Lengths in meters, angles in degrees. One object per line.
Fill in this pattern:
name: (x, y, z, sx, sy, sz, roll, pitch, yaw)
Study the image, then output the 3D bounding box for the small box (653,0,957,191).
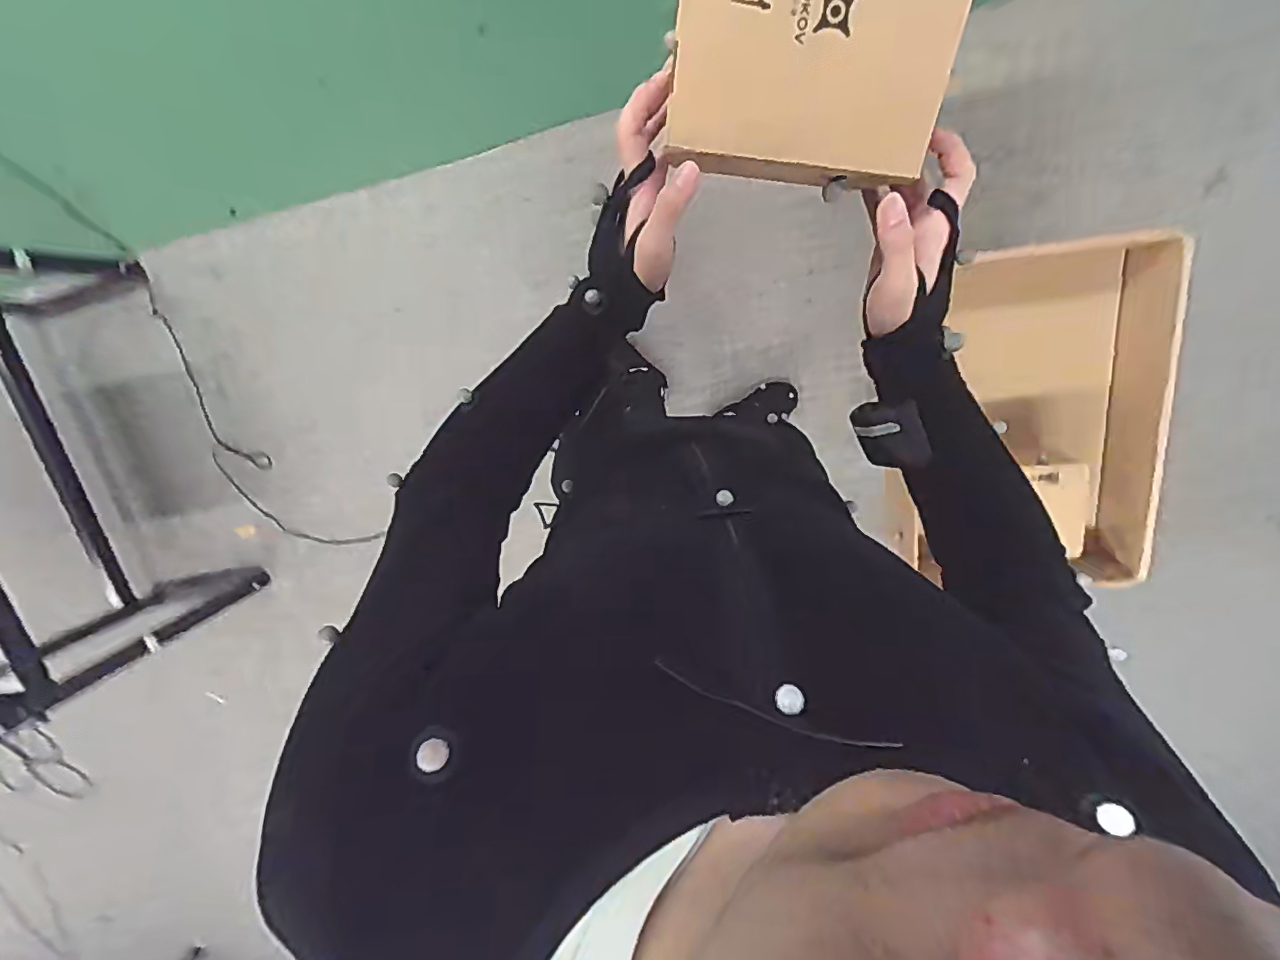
small box: (0.109, -0.318, 0.404, 0.179, 0.176, 0.168, 7, 116, 2)
